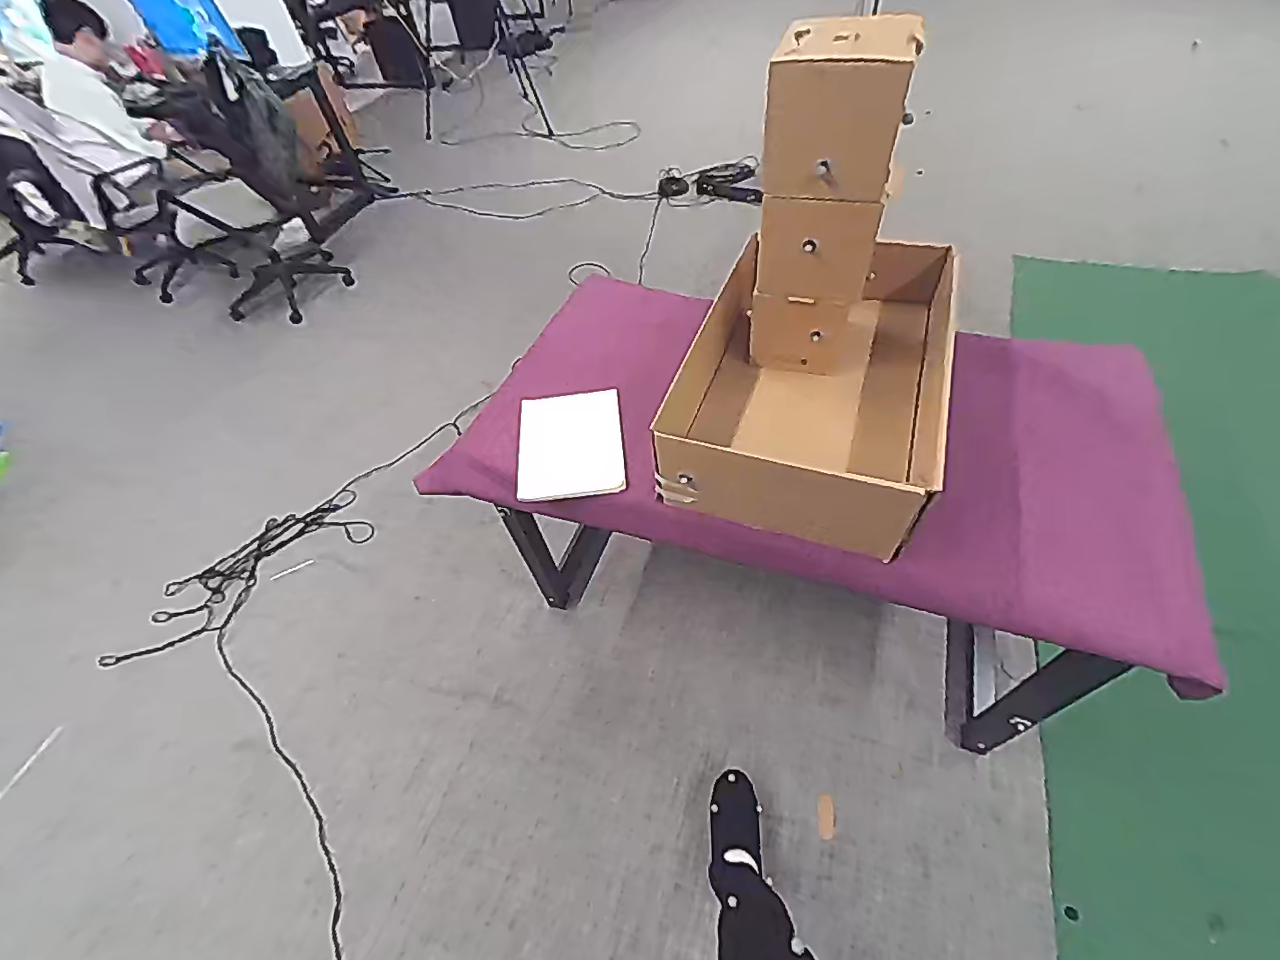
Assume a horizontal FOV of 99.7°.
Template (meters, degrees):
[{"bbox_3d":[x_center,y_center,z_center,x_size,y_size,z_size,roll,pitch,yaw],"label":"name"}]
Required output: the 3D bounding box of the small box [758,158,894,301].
[{"bbox_3d":[0.302,-0.419,0.897,0.179,0.176,0.168,12,55,16],"label":"small box"}]

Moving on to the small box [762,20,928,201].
[{"bbox_3d":[0.284,-0.522,0.770,0.179,0.176,0.168,14,55,16],"label":"small box"}]
